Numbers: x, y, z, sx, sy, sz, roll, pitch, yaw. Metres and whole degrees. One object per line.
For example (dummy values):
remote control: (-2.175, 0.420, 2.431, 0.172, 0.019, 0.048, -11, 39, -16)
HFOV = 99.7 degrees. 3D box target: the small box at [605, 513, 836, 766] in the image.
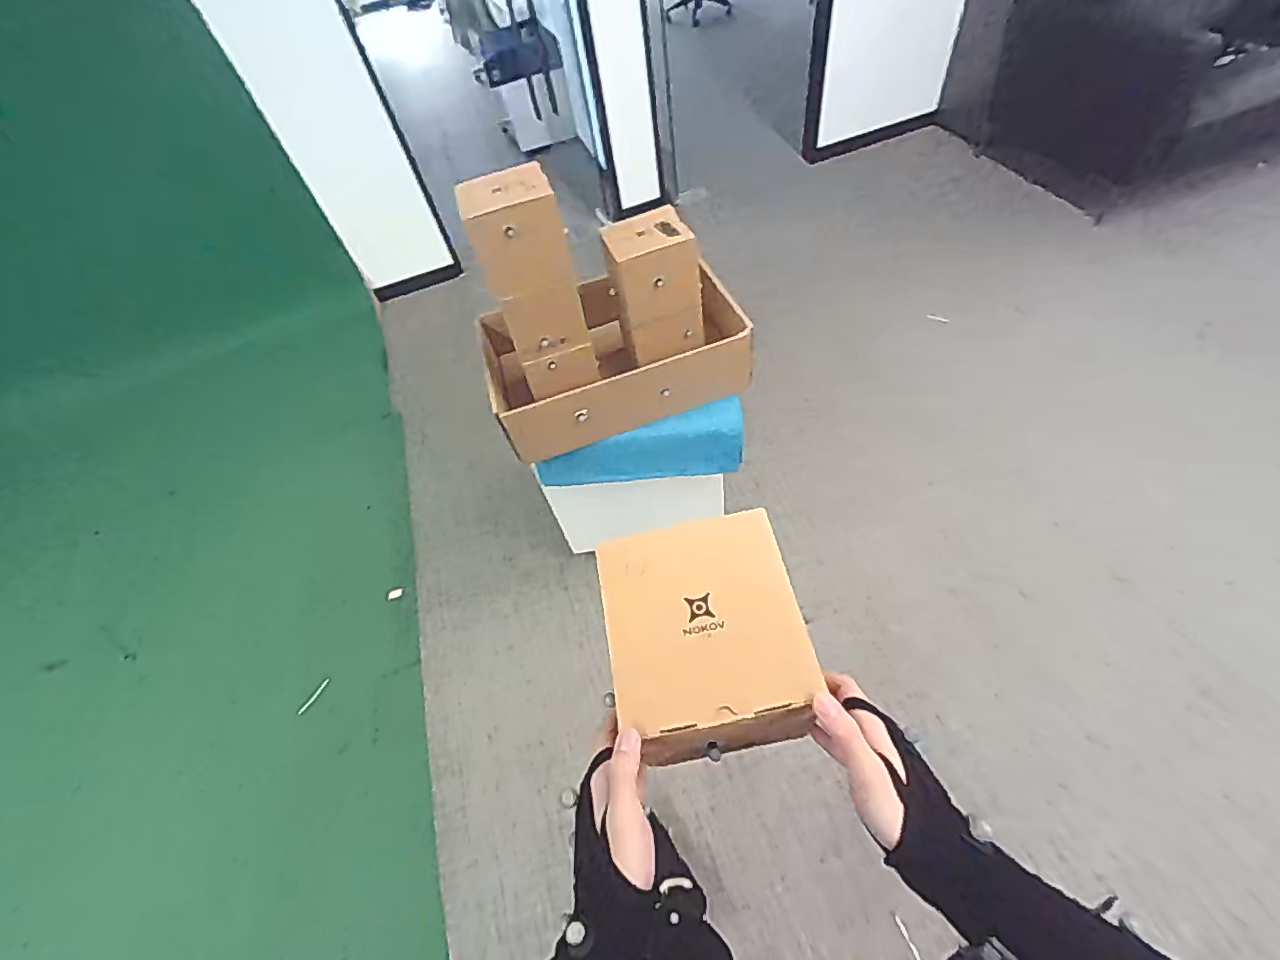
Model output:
small box: (0.068, 0.159, 0.525, 0.168, 0.176, 0.179, -12, 55, 1)

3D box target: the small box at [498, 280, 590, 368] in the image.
small box: (-0.223, -0.382, 1.216, 0.168, 0.176, 0.179, -19, 51, -5)

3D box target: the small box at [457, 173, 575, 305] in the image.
small box: (-0.246, -0.480, 1.086, 0.179, 0.176, 0.168, -19, 51, -4)

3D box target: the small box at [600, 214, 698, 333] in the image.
small box: (0.027, -0.466, 1.231, 0.179, 0.176, 0.168, -20, 51, -4)

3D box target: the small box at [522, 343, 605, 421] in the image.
small box: (-0.197, -0.277, 1.338, 0.168, 0.176, 0.179, -19, 50, -5)
